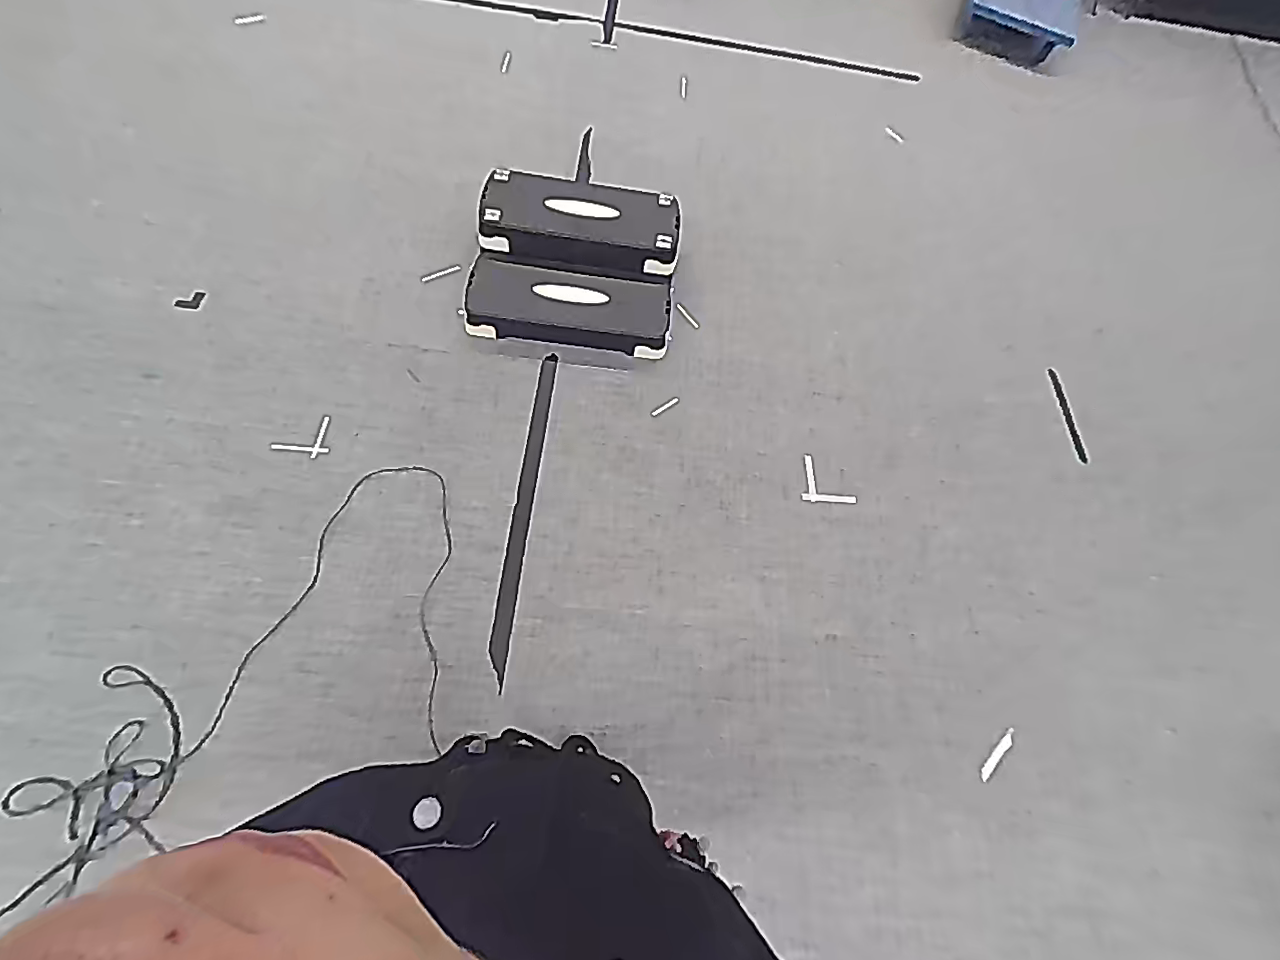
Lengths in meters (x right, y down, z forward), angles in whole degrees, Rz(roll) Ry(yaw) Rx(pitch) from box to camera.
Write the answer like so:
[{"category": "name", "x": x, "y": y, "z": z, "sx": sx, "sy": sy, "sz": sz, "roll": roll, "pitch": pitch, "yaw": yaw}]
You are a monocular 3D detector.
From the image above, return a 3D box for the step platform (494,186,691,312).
[{"category": "step platform", "x": -0.161, "y": -0.817, "z": 1.914, "sx": 0.684, "sy": 0.204, "sz": 0.286, "roll": 10, "pitch": 63, "yaw": -3}]
